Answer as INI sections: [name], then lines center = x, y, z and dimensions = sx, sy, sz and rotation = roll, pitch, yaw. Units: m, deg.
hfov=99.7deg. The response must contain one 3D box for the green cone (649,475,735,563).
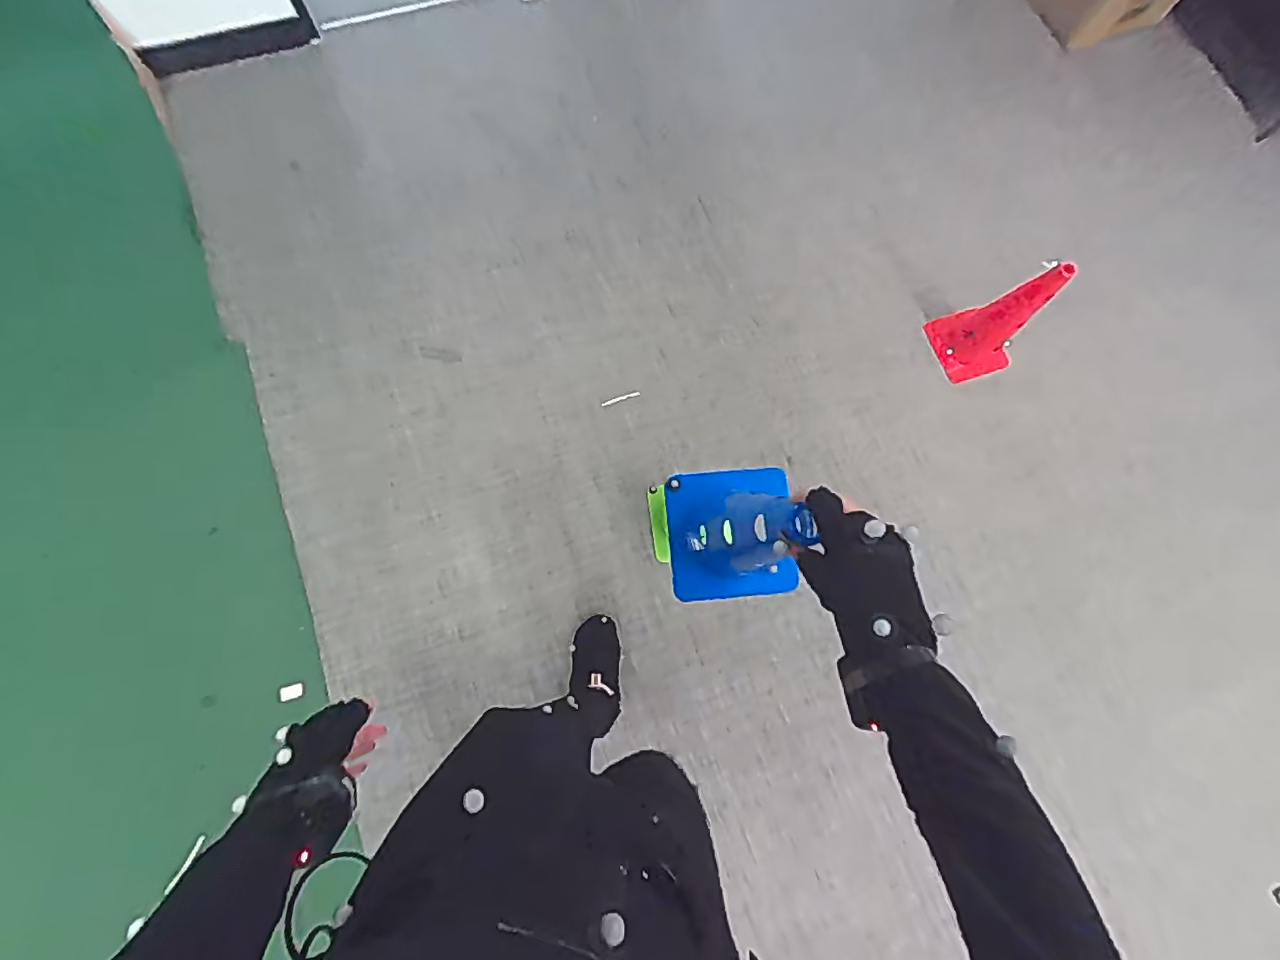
[green cone]
center = 0.145, 0.061, 1.223
dimensions = 0.202, 0.368, 0.200
rotation = -7, 76, -6
